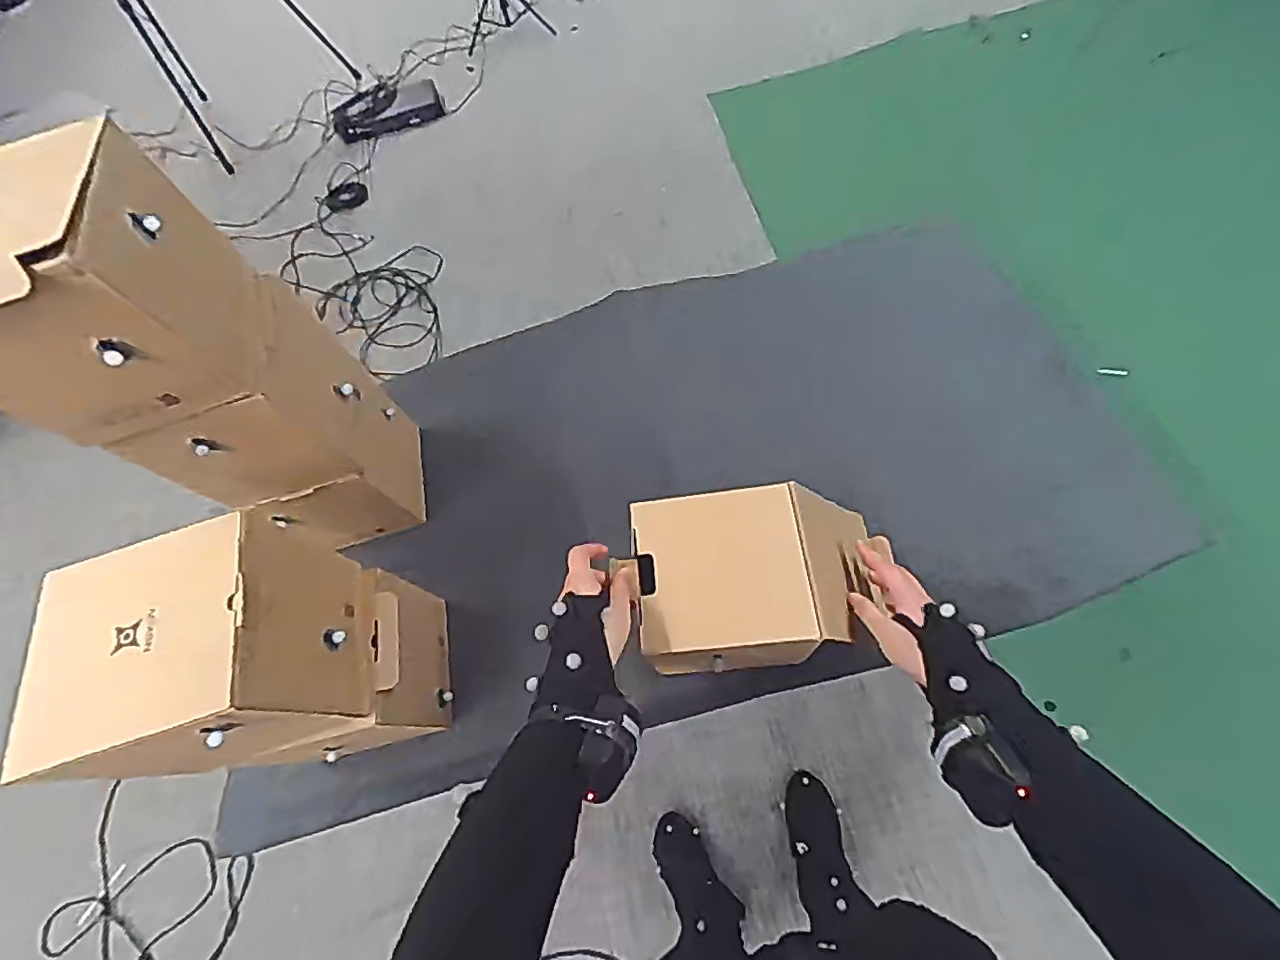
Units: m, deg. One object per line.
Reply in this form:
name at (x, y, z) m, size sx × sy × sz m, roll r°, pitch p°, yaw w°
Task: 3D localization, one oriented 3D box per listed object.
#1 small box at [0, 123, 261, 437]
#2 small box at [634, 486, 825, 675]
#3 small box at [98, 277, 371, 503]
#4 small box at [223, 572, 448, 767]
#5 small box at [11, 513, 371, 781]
small box at (-0.468, -0.157, 0.471) m, size 0.168 × 0.176 × 0.179 m, roll -19°, pitch 63°, yaw -2°
small box at (0.097, 0.123, 0.614) m, size 0.179 × 0.176 × 0.168 m, roll -8°, pitch 64°, yaw 7°
small box at (-0.438, -0.091, 0.617) m, size 0.179 × 0.176 × 0.168 m, roll -15°, pitch 65°, yaw 1°
small box at (-0.340, 0.224, 0.637) m, size 0.179 × 0.176 × 0.168 m, roll -15°, pitch 64°, yaw 2°
small box at (-0.378, 0.157, 0.493) m, size 0.179 × 0.176 × 0.168 m, roll -19°, pitch 64°, yaw 0°
